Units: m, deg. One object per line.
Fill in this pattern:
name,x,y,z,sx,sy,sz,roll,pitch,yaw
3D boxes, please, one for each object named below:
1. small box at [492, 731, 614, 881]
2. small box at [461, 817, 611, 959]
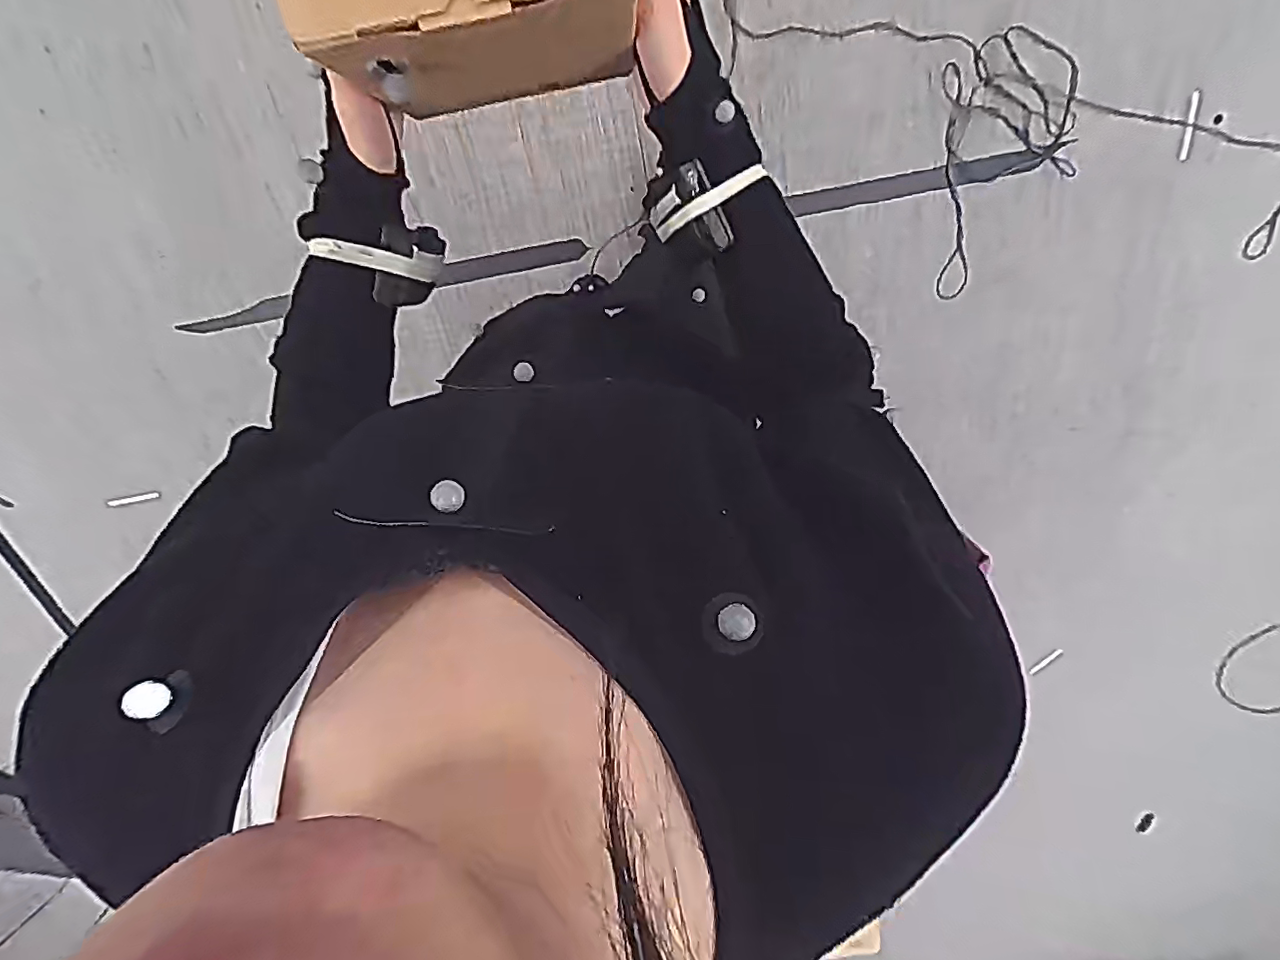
small box,-0.138,0.552,0.918,0.168,0.176,0.179,-8,114,1
small box,-0.133,0.621,0.769,0.168,0.176,0.179,-8,113,0
